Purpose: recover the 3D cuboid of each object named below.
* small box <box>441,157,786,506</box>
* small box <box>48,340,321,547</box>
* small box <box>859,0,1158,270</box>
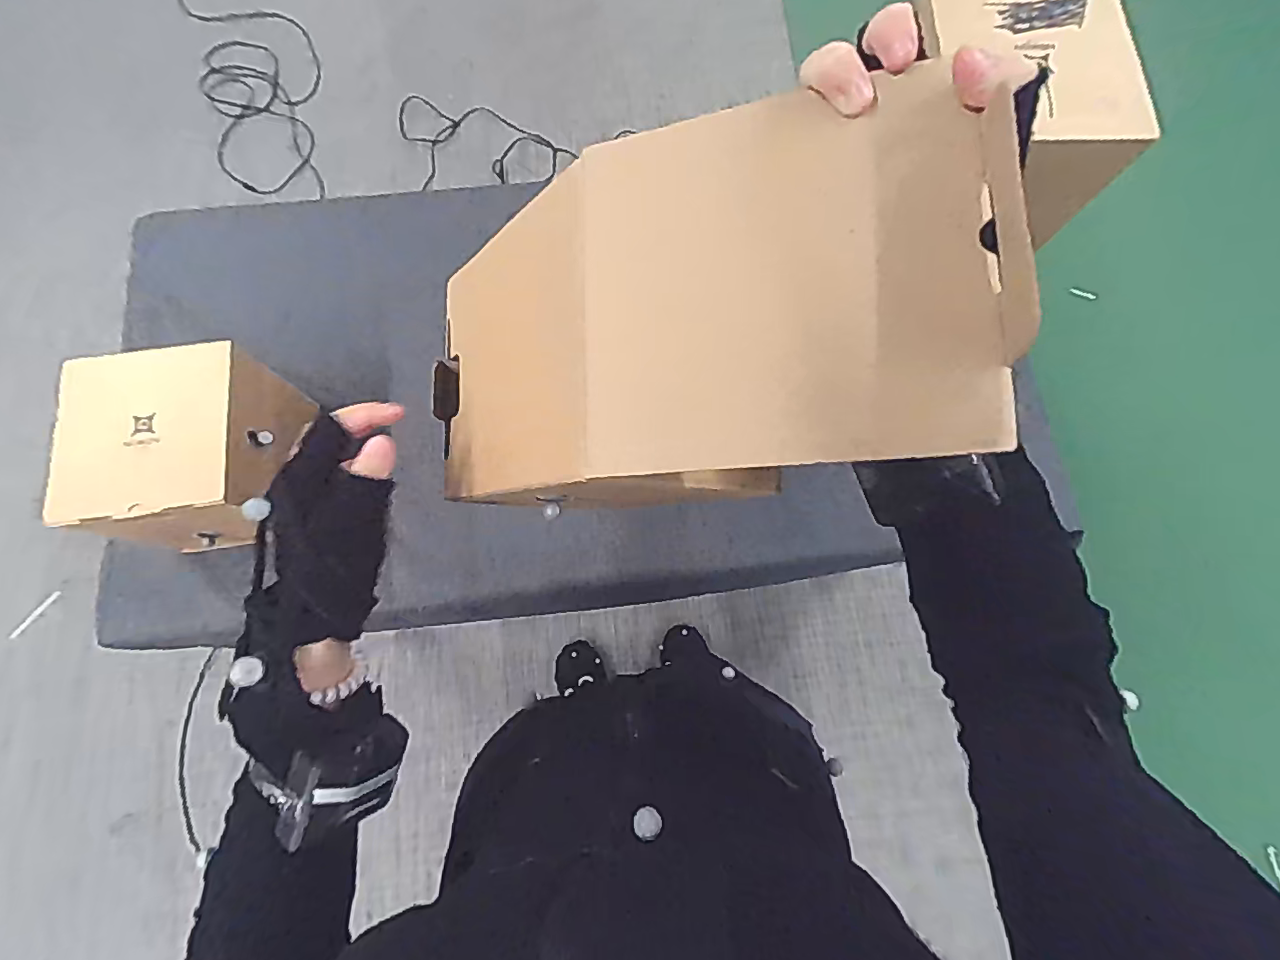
[{"bbox_3d":[-0.020,-0.069,0.376,0.176,0.179,0.168,4,82,-42],"label":"small box"},{"bbox_3d":[-0.485,-0.032,0.607,0.168,0.176,0.179,-8,76,-4],"label":"small box"},{"bbox_3d":[0.331,-0.333,0.529,0.168,0.176,0.179,-1,76,0],"label":"small box"}]
